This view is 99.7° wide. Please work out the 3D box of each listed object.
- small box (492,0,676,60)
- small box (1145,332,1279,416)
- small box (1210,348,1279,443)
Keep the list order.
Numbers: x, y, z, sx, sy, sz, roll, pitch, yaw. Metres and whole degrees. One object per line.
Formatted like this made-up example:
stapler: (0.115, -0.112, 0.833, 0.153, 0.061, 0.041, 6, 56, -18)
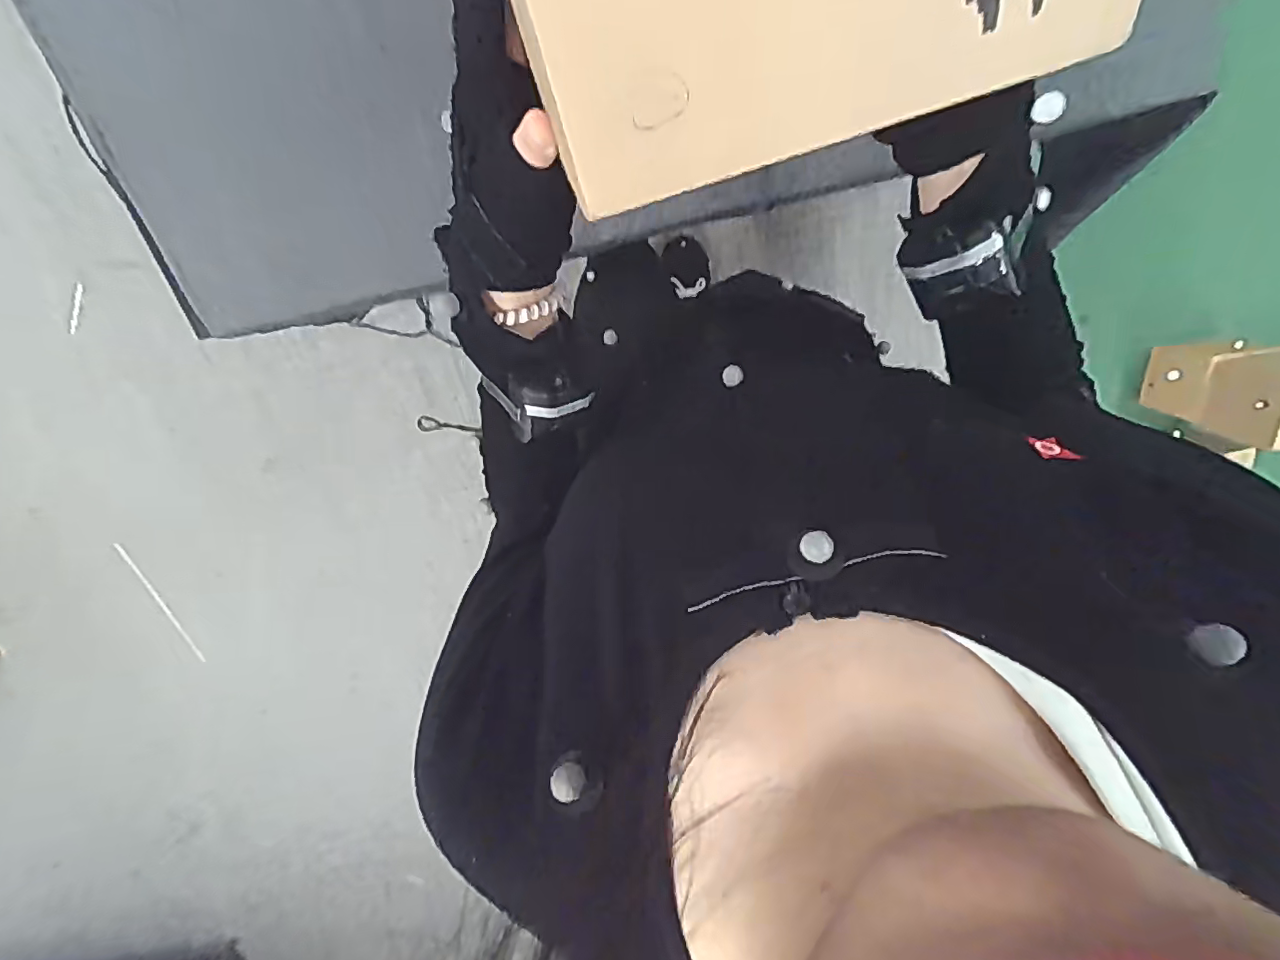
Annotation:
small box: (-0.061, -0.494, 0.449, 0.168, 0.176, 0.179, -11, 114, 5)
small box: (1.444, -0.270, 1.363, 0.179, 0.176, 0.168, -7, 114, 2)
small box: (1.457, -0.197, 1.216, 0.168, 0.176, 0.179, -8, 114, 3)
